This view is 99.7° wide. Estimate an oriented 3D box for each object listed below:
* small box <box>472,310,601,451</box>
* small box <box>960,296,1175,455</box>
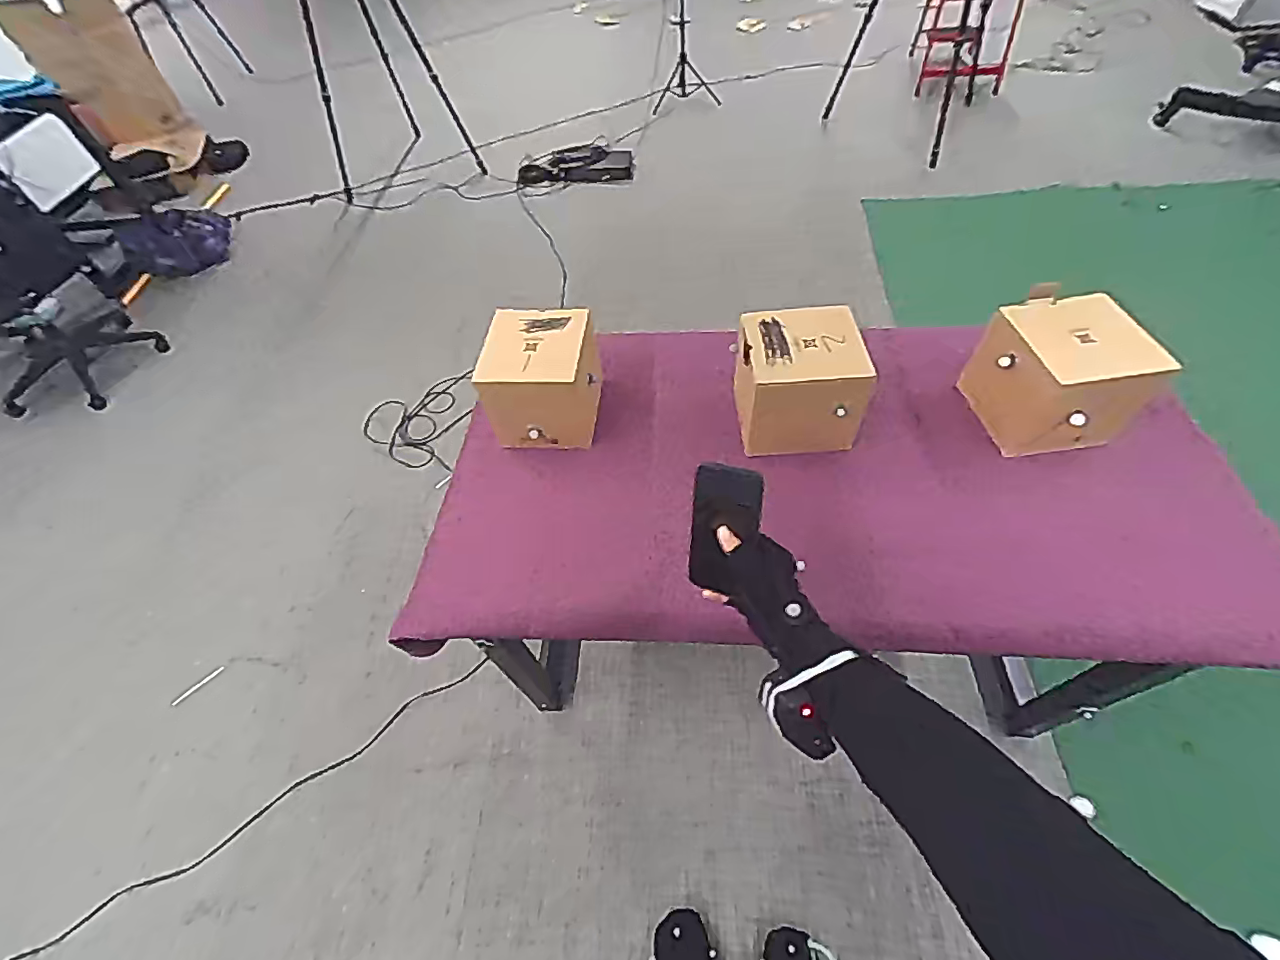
[{"bbox_3d":[-0.166,-0.171,0.934,0.168,0.176,0.179,2,56,7],"label":"small box"},{"bbox_3d":[0.643,-0.154,0.843,0.168,0.176,0.179,-8,53,1],"label":"small box"}]
